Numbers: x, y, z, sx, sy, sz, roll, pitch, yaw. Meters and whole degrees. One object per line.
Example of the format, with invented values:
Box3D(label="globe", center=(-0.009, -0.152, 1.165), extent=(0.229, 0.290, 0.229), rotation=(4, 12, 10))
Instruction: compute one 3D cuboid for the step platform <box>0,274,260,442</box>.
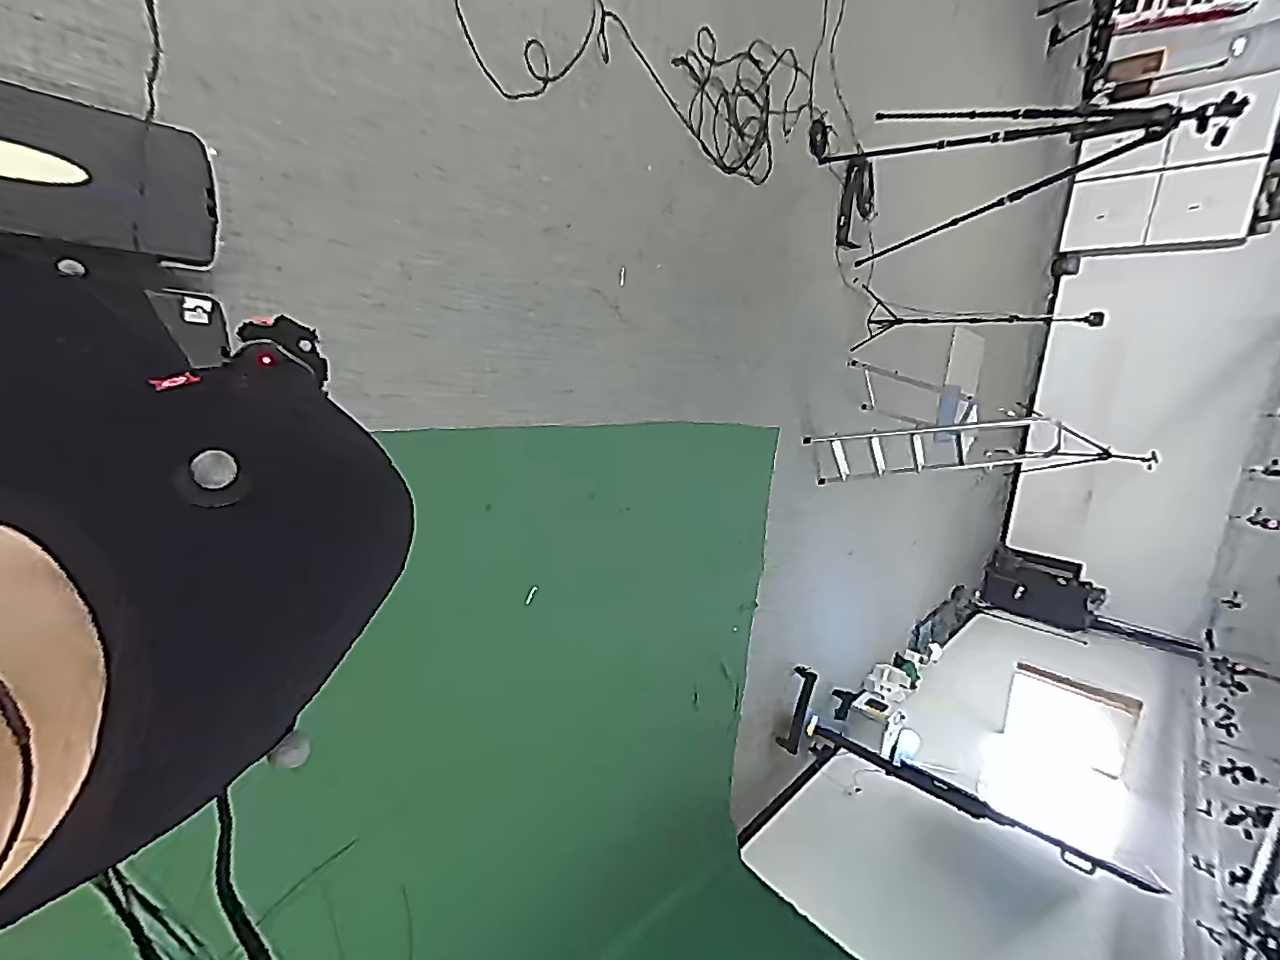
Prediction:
Box3D(label="step platform", center=(-1.073, -0.206, 0.911), extent=(0.684, 0.204, 0.286), rotation=(-8, 106, -46))
